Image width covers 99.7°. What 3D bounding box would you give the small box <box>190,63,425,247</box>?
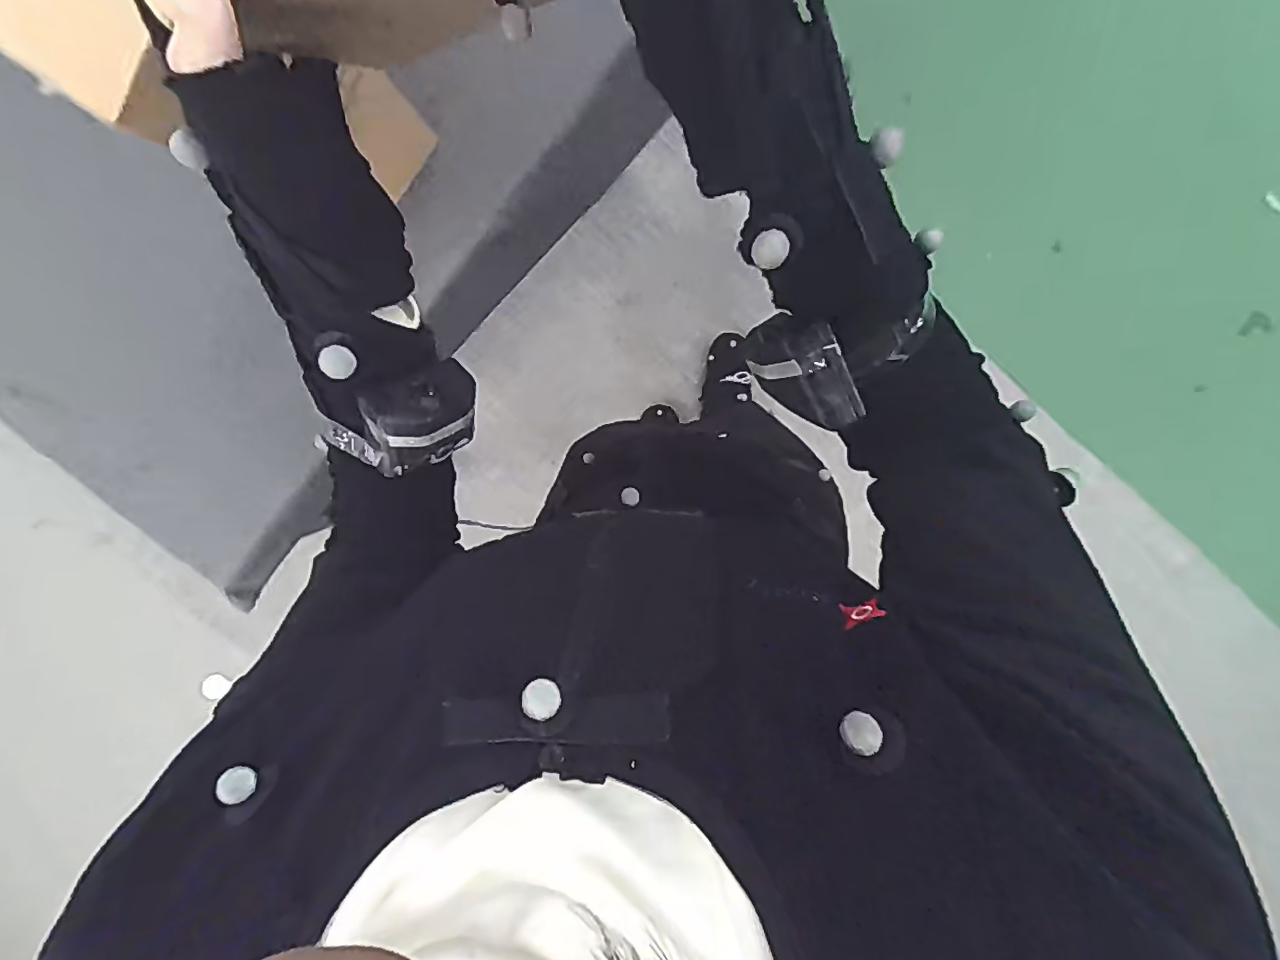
[{"bbox_3d":[-0.365,-0.382,0.574,0.168,0.176,0.179,39,99,-3],"label":"small box"}]

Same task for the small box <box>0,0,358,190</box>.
[{"bbox_3d":[-0.365,-0.360,0.413,0.179,0.176,0.168,34,101,-3],"label":"small box"}]

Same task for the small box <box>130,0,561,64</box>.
[{"bbox_3d":[-0.097,-0.276,0.187,0.179,0.176,0.168,-11,121,13],"label":"small box"}]
